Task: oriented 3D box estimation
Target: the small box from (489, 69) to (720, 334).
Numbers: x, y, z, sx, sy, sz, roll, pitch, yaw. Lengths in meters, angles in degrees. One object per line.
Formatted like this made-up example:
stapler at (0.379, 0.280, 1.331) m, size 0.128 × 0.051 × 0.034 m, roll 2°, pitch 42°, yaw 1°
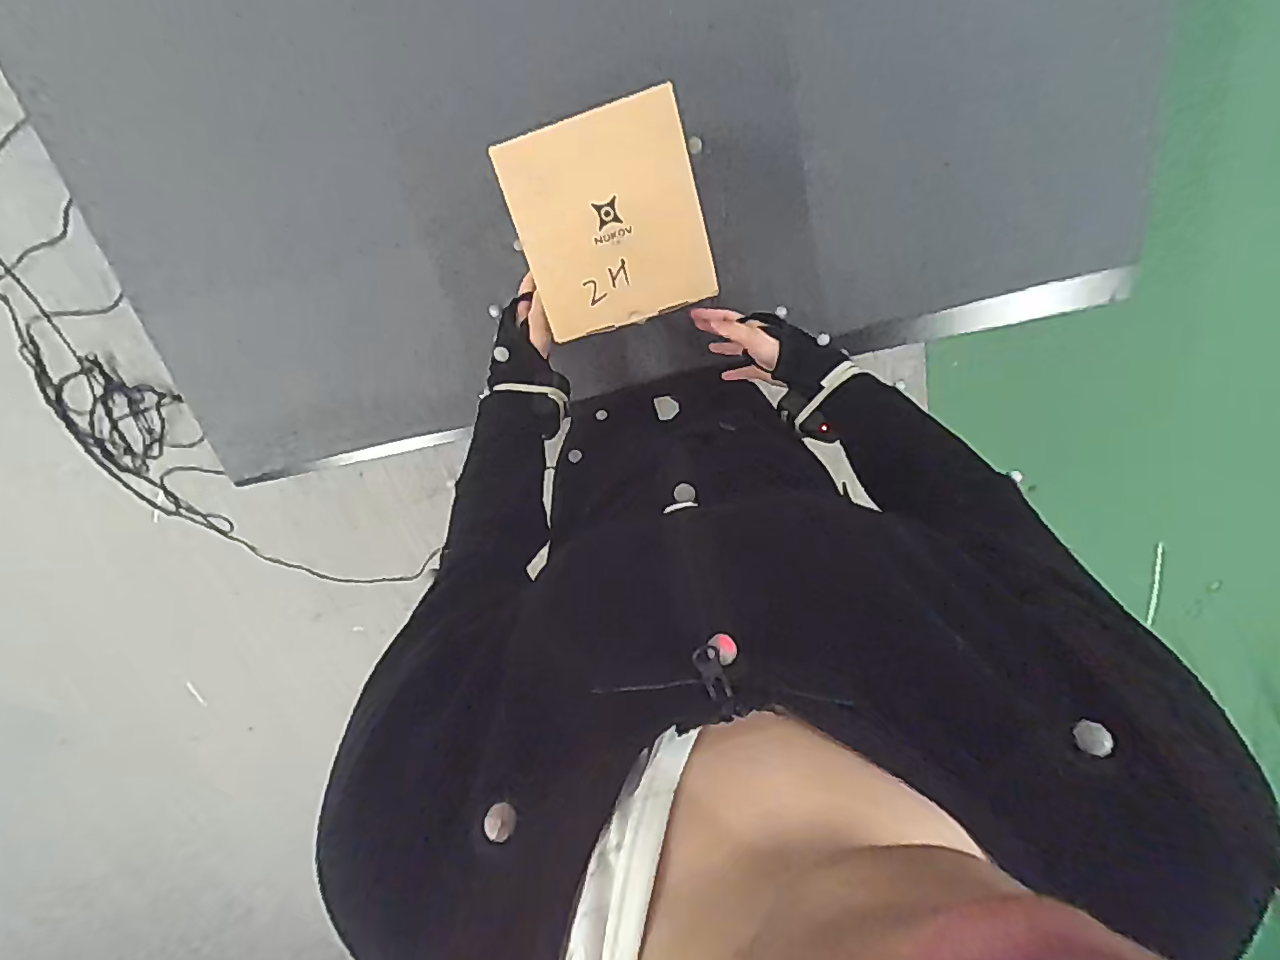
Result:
small box at (-0.027, -0.261, 0.545) m, size 0.168 × 0.176 × 0.179 m, roll -15°, pitch 110°, yaw 7°
